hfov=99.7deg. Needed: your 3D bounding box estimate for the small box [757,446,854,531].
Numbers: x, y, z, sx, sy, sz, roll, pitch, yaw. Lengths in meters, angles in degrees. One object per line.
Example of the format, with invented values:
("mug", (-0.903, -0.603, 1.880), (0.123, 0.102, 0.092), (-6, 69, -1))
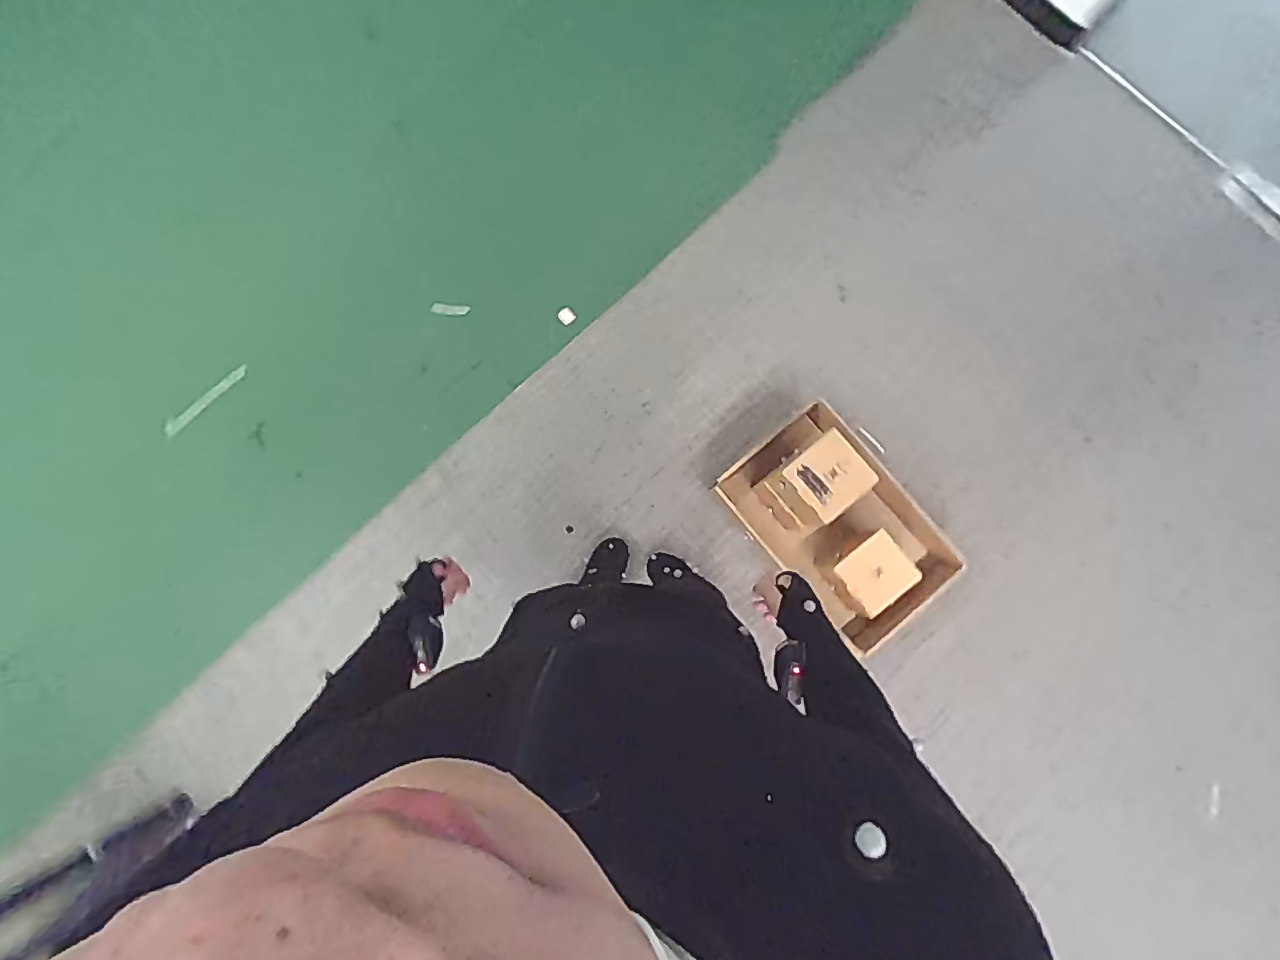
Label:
("small box", (0.456, 0.028, 1.523), (0.179, 0.176, 0.168), (-38, 85, -4))
